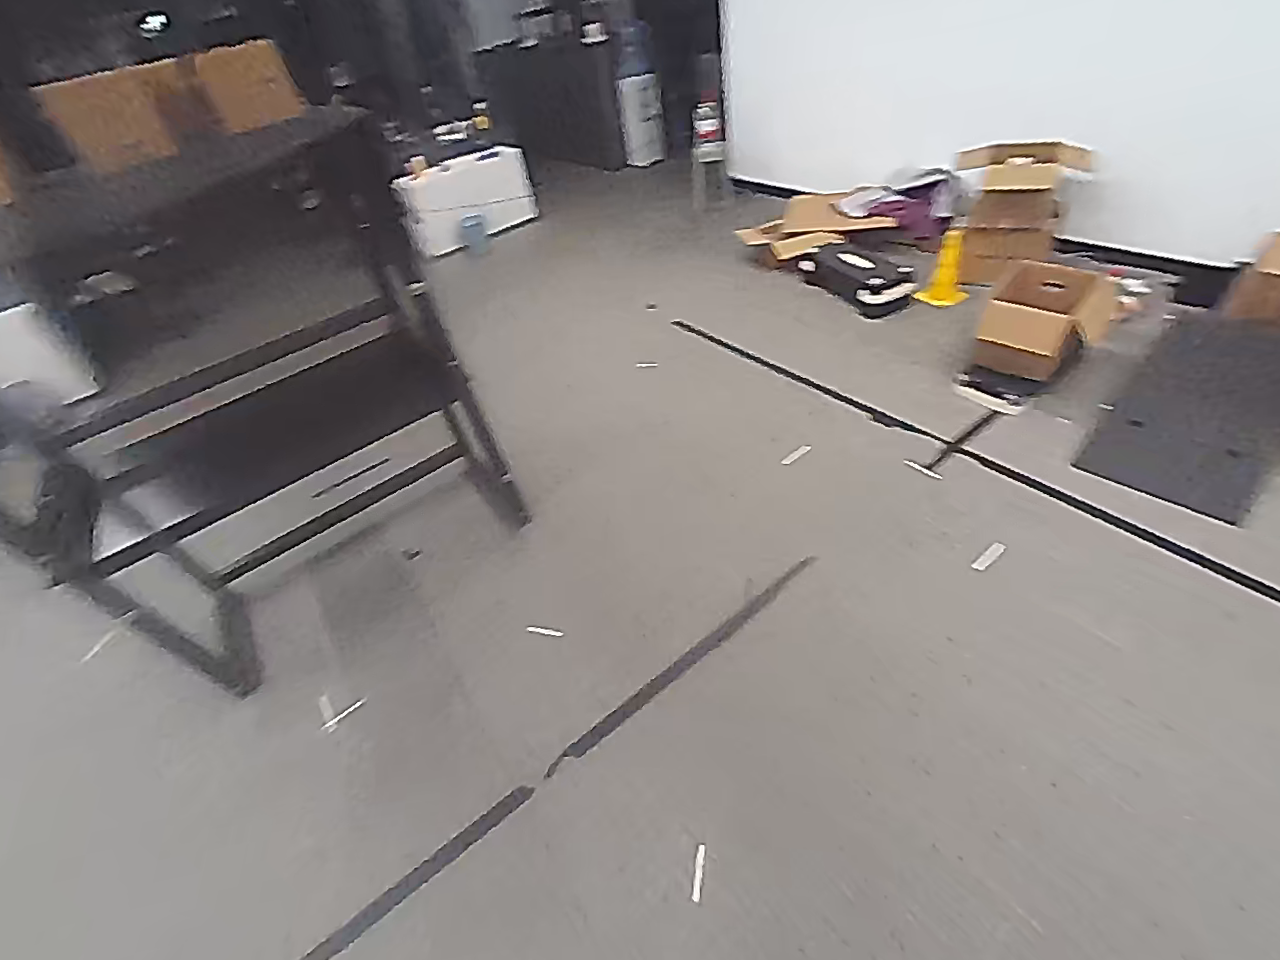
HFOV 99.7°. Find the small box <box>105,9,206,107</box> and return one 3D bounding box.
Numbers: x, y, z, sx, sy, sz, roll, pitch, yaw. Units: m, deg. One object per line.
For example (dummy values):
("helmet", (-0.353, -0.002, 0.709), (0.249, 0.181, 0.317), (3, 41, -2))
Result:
("small box", (-1.204, -1.019, 1.319), (0.168, 0.176, 0.179), (-32, 47, -19))

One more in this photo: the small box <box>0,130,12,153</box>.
("small box", (-1.372, -0.691, 1.023), (0.168, 0.176, 0.179), (-30, 46, -18))
